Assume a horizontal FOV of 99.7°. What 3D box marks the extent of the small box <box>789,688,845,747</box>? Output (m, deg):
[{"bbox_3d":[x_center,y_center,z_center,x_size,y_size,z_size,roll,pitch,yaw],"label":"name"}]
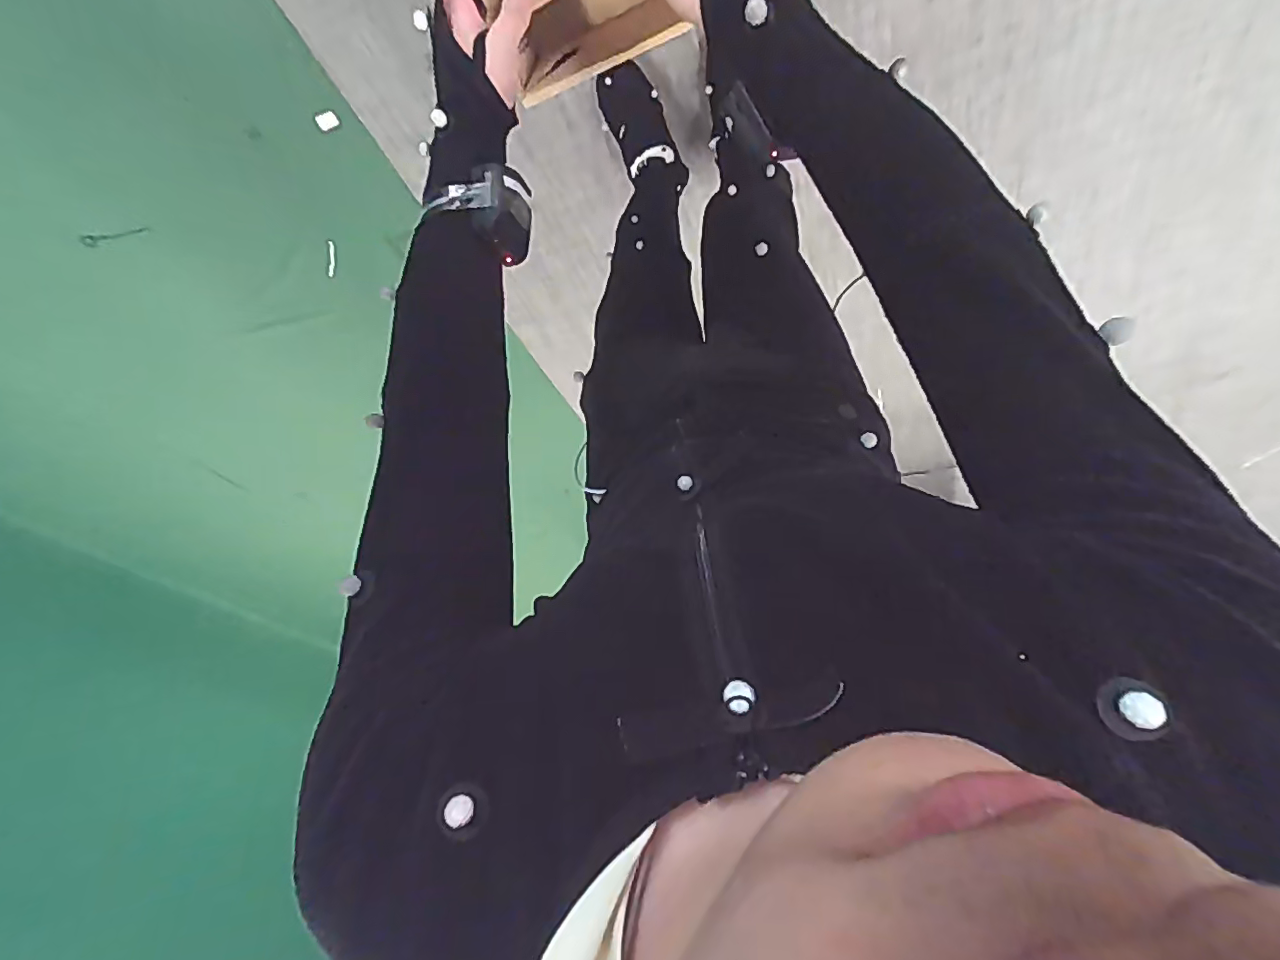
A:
[{"bbox_3d":[0.647,0.867,1.971,0.168,0.176,0.179,-11,141,19],"label":"small box"}]
